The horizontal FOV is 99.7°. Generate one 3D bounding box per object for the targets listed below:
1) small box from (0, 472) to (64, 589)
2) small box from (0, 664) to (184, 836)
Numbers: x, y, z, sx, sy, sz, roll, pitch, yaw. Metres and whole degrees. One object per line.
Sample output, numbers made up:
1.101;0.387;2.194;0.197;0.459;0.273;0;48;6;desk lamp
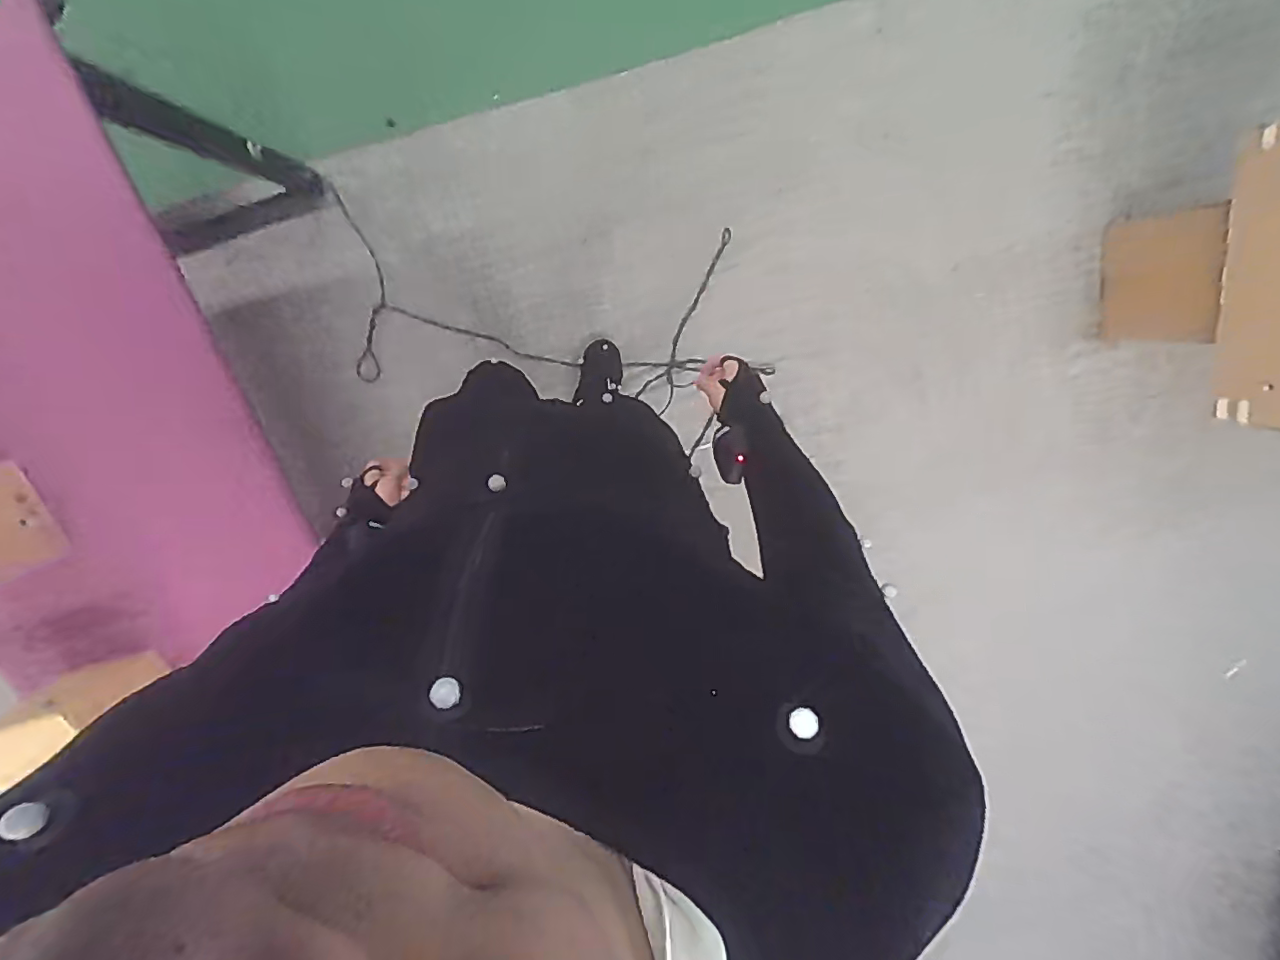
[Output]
-1.039;0.103;0.793;0.179;0.176;0.168;-17;106;2;small box
-0.909;0.432;0.888;0.179;0.176;0.168;-17;105;3;small box
